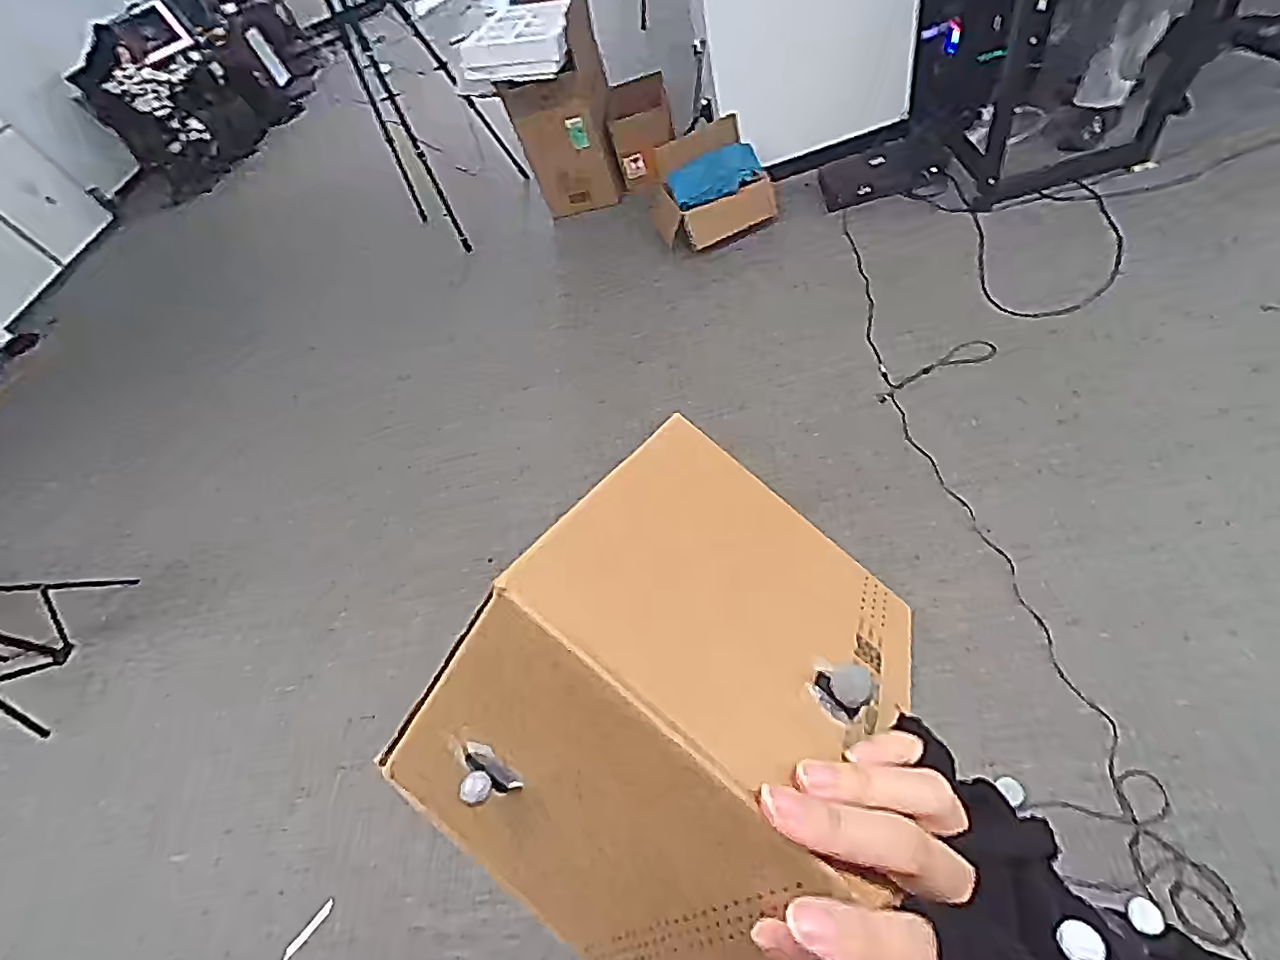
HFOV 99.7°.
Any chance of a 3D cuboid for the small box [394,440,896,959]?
[{"bbox_3d":[0.007,0.117,0.295,0.176,0.179,0.168,39,36,2],"label":"small box"}]
